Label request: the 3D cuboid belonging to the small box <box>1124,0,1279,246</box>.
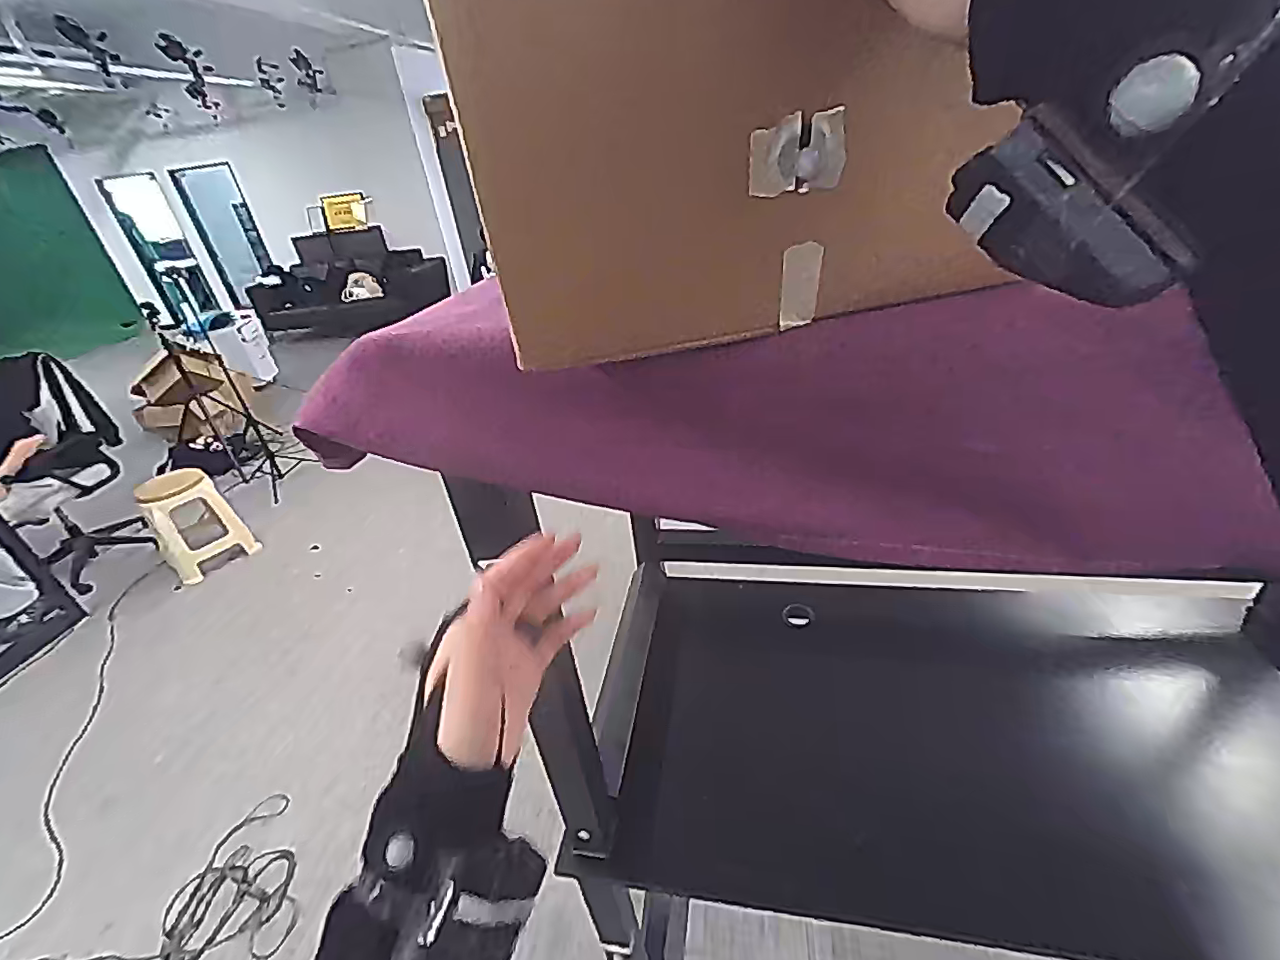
[{"bbox_3d":[0.446,-0.245,0.317,0.179,0.176,0.168,2,31,17],"label":"small box"}]
